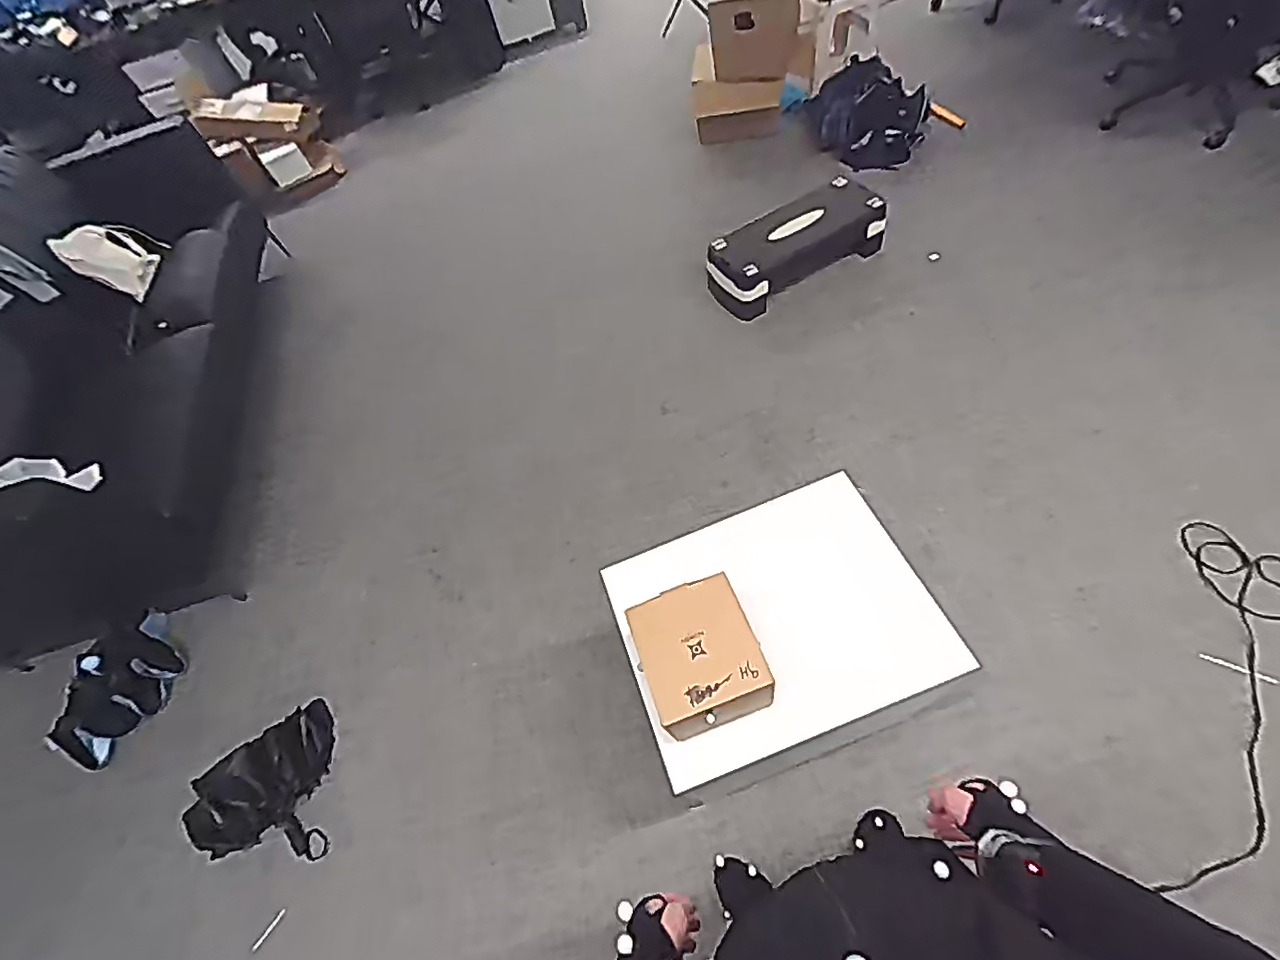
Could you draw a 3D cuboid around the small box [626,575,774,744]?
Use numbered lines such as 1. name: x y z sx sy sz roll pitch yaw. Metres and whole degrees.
1. small box: 0.092 0.280 0.833 0.168 0.176 0.179 -22 55 -2
